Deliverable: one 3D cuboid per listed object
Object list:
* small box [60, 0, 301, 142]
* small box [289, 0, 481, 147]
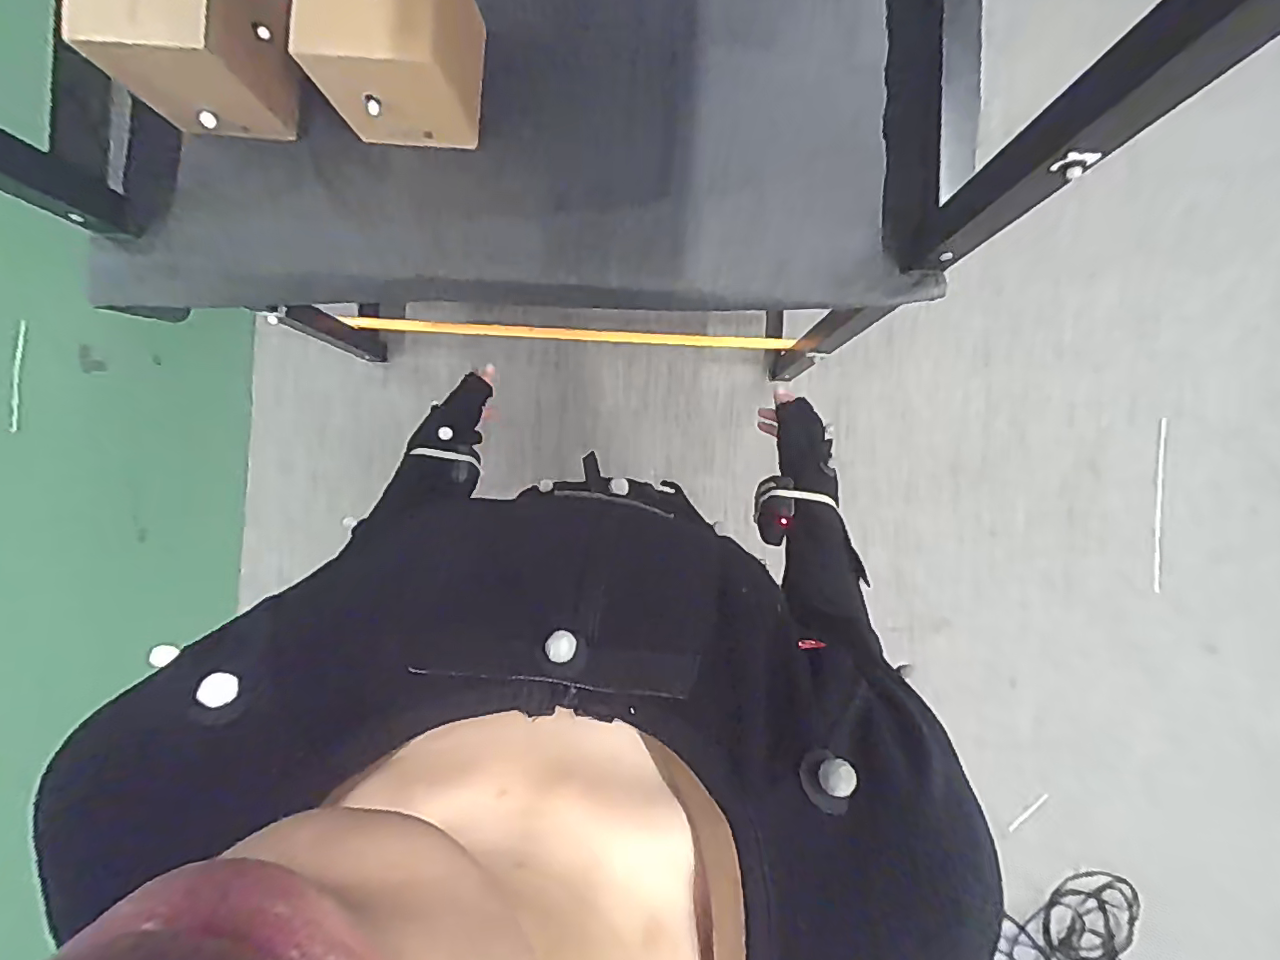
[{"bbox_3d":[-0.563,-0.574,0.688,0.168,0.176,0.179,4,90,0],"label":"small box"},{"bbox_3d":[-0.311,-0.560,0.691,0.168,0.176,0.179,4,89,0],"label":"small box"}]
